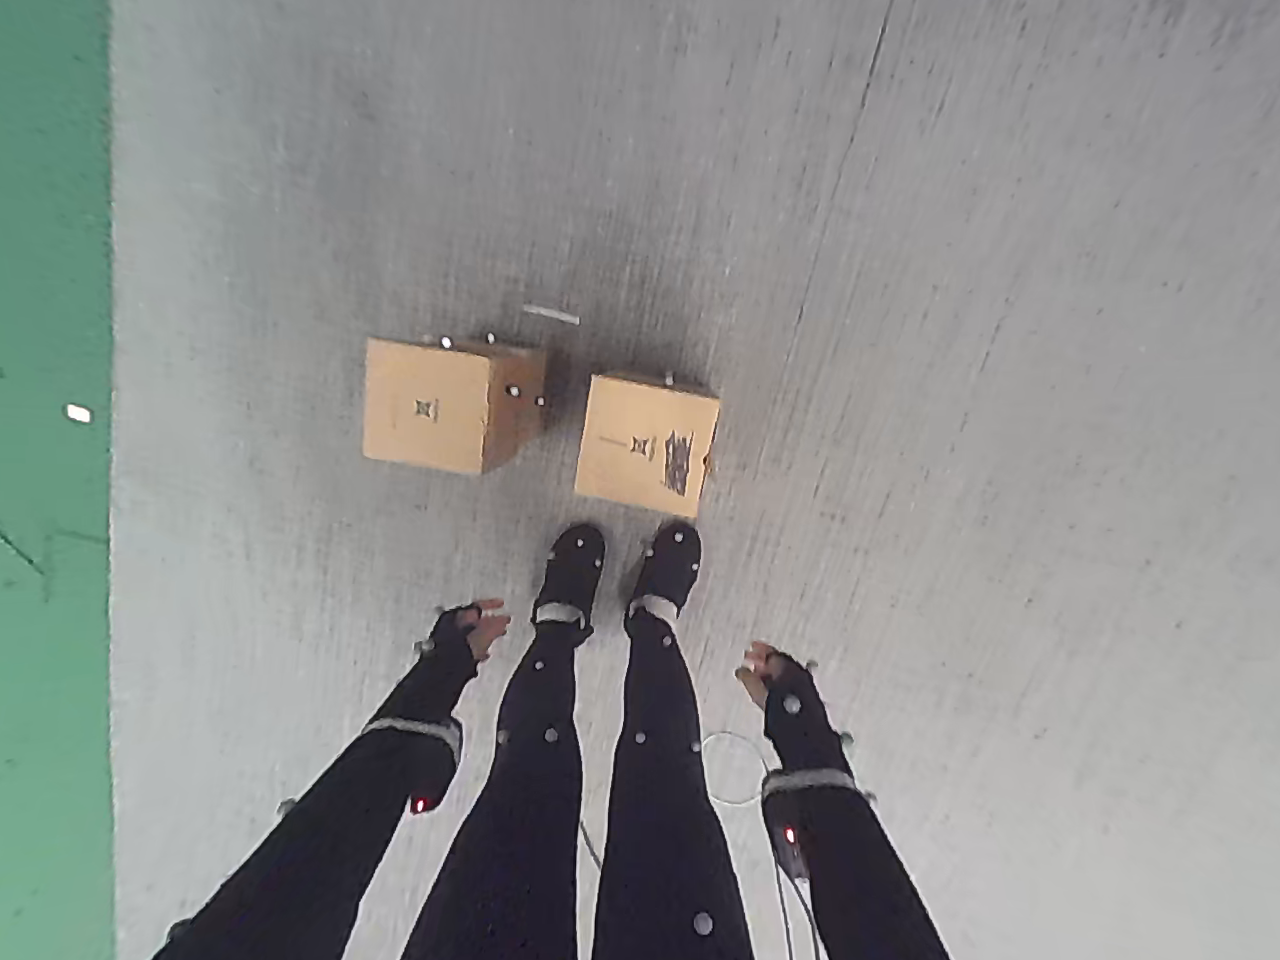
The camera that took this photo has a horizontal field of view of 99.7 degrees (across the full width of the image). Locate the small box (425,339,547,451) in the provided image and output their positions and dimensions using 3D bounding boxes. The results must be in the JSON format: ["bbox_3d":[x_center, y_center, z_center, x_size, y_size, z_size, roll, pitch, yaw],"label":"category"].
[{"bbox_3d":[-0.280,-0.160,0.992,0.179,0.176,0.168,10,103,3],"label":"small box"}]

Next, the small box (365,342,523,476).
[{"bbox_3d":[-0.292,-0.115,0.836,0.179,0.176,0.168,10,102,3],"label":"small box"}]

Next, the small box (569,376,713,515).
[{"bbox_3d":[0.006,-0.062,0.822,0.179,0.176,0.168,12,103,3],"label":"small box"}]
